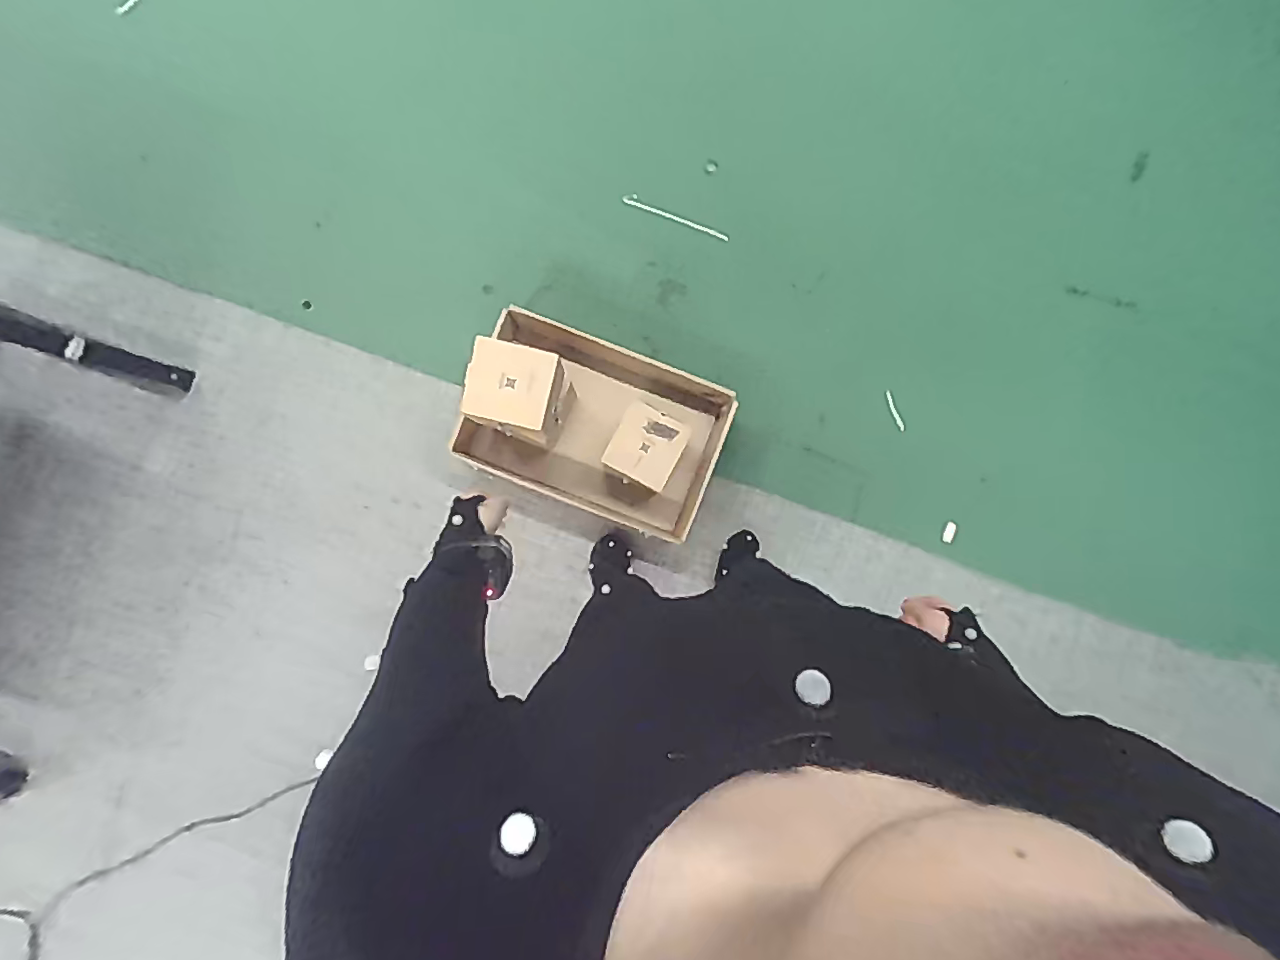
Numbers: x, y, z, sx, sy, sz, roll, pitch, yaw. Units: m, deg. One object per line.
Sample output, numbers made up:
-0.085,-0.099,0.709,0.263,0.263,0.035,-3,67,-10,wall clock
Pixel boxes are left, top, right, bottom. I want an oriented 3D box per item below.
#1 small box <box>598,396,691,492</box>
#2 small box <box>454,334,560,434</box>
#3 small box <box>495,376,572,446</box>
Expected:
0.007,-0.085,1.350,0.168,0.176,0.179,28,89,-1,small box
-0.280,-0.198,1.174,0.179,0.176,0.168,12,89,-4,small box
-0.284,-0.192,1.339,0.179,0.176,0.168,22,88,-1,small box
